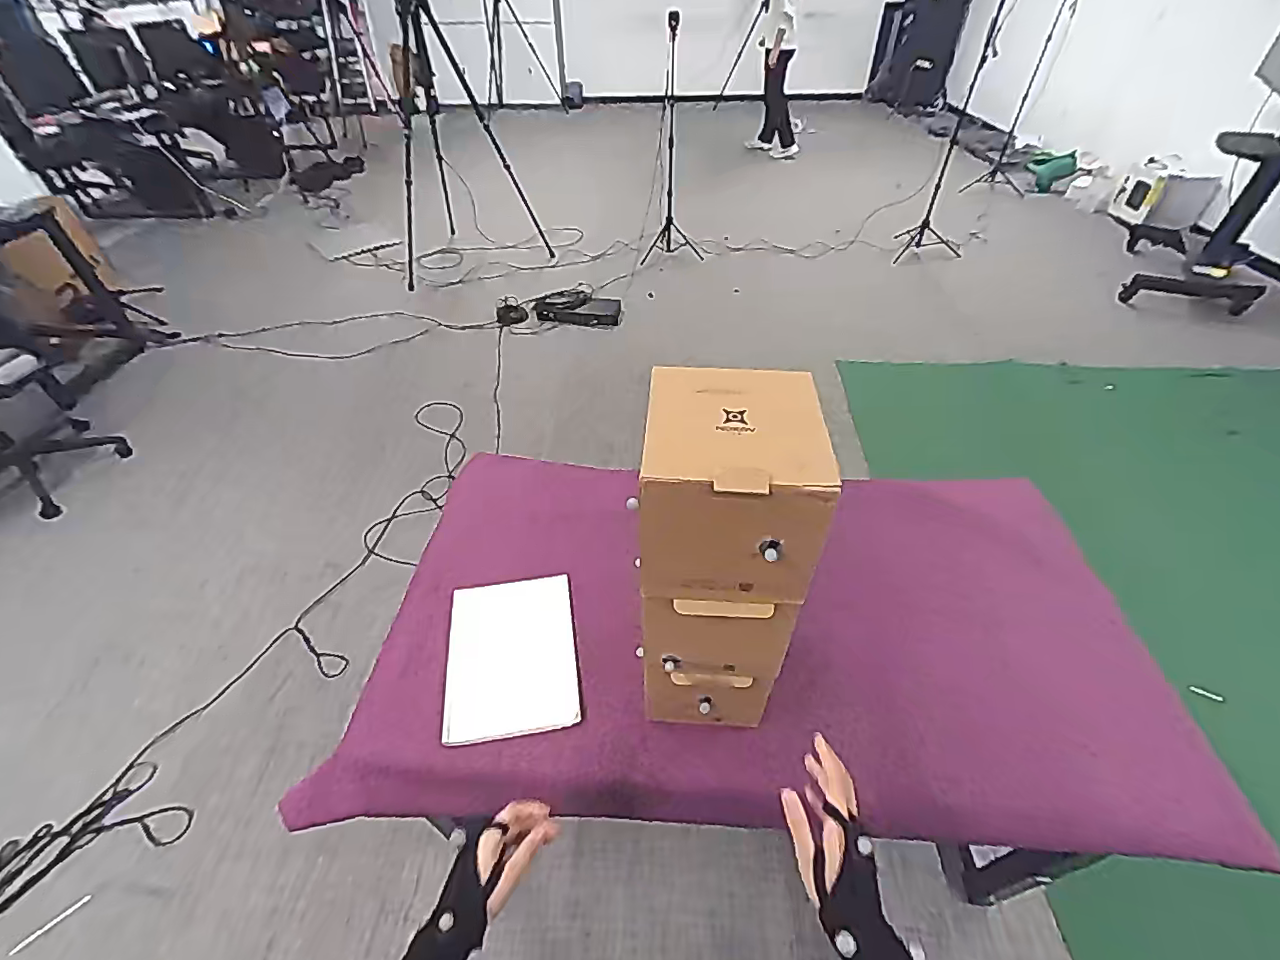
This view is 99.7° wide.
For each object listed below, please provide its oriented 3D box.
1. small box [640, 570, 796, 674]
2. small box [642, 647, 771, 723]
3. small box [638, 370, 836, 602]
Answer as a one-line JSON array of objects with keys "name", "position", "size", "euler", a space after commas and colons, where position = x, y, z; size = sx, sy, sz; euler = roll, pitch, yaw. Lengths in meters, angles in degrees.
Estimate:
[{"name": "small box", "position": [0.090, 0.122, 0.674], "size": [0.168, 0.176, 0.179], "euler": [3, 43, 3]}, {"name": "small box", "position": [0.092, 0.237, 0.792], "size": [0.168, 0.176, 0.179], "euler": [3, 44, 3]}, {"name": "small box", "position": [0.089, 0.007, 0.558], "size": [0.168, 0.176, 0.179], "euler": [4, 43, 4]}]
